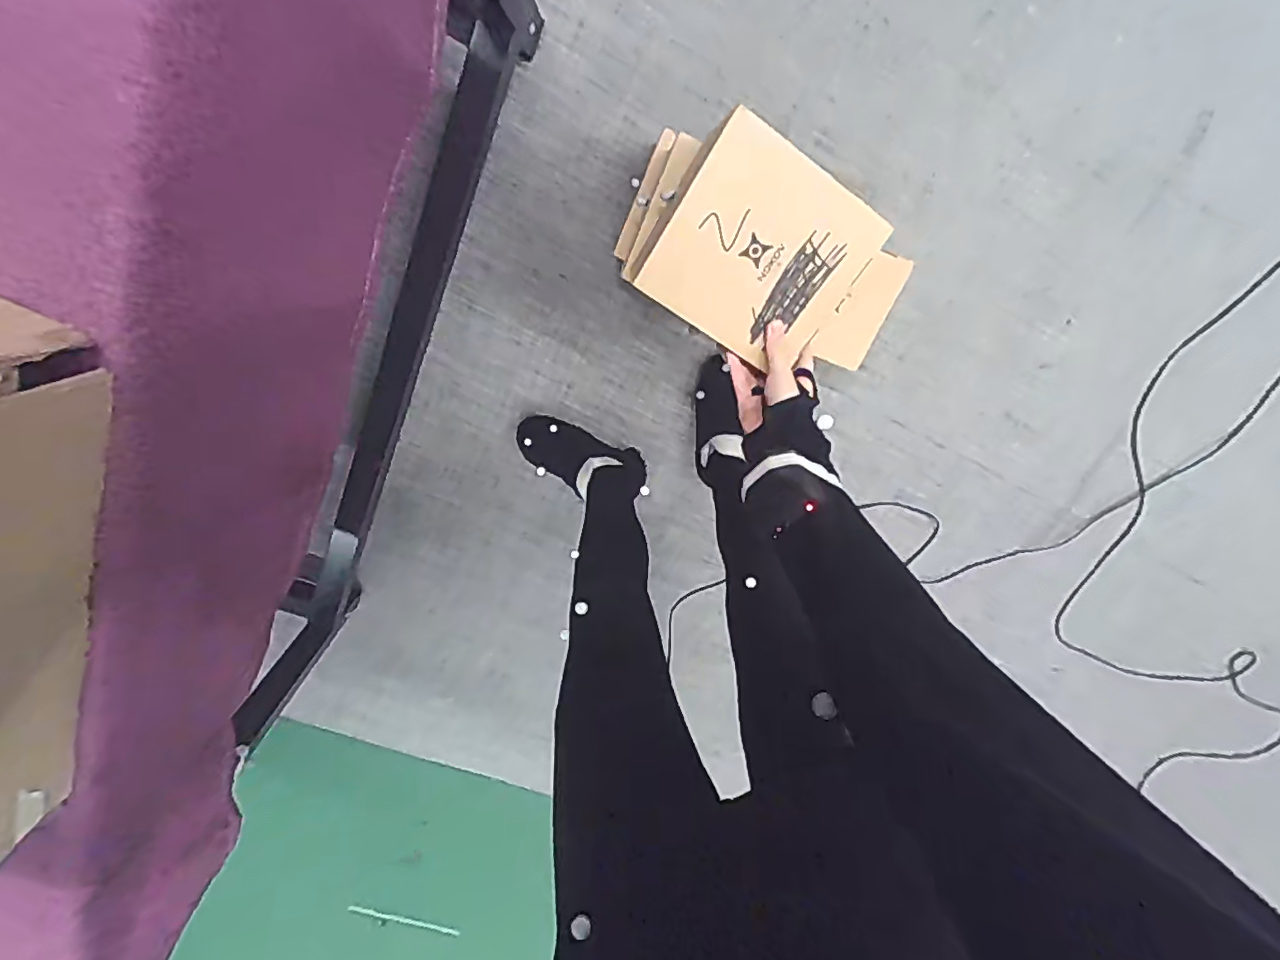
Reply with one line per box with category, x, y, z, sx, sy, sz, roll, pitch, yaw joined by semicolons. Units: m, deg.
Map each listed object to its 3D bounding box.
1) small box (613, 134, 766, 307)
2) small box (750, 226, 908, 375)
small box;0.066;-0.399;0.842;0.168;0.176;0.179;23;115;-12
small box;0.294;-0.299;0.893;0.168;0.176;0.179;18;113;-9
